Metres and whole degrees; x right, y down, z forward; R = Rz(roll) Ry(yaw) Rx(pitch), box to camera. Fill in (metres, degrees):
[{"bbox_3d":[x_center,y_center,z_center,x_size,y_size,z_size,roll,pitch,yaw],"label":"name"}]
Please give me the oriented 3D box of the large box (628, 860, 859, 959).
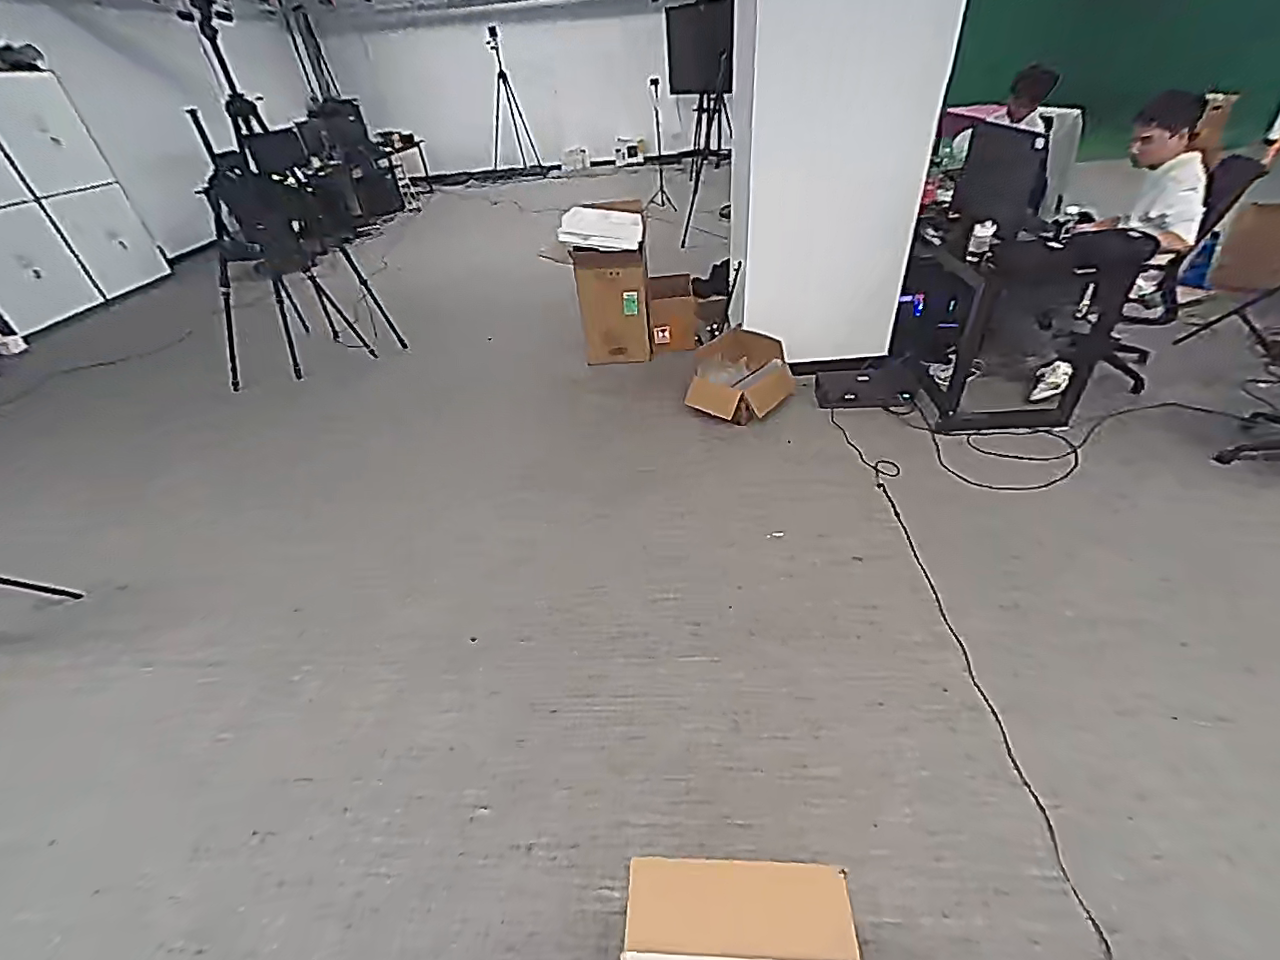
[{"bbox_3d":[0.185,0.951,1.011,0.408,0.320,0.320,-1,38,5],"label":"large box"}]
